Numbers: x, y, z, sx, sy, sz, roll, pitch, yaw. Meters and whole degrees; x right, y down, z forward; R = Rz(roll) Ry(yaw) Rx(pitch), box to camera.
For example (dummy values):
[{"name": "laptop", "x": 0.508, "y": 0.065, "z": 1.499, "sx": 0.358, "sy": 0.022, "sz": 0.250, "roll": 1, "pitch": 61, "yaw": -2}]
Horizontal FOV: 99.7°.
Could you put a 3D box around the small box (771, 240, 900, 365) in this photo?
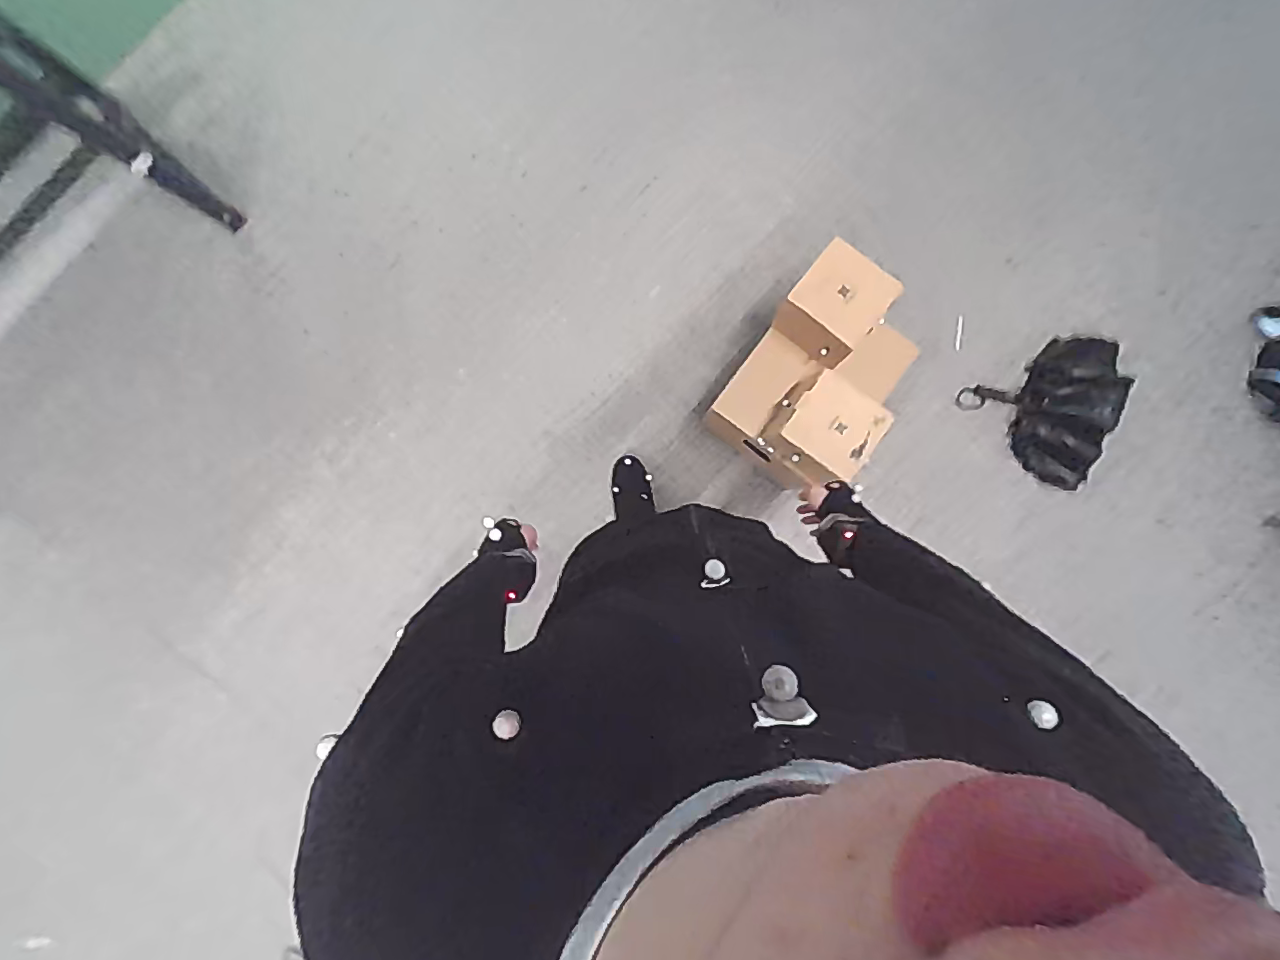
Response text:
[{"name": "small box", "x": 0.411, "y": -0.369, "z": 1.167, "sx": 0.179, "sy": 0.176, "sz": 0.168, "roll": 39, "pitch": 89, "yaw": 5}]

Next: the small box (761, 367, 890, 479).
[{"name": "small box", "x": 0.385, "y": -0.112, "z": 1.161, "sx": 0.179, "sy": 0.176, "sz": 0.168, "roll": 36, "pitch": 90, "yaw": 0}]
